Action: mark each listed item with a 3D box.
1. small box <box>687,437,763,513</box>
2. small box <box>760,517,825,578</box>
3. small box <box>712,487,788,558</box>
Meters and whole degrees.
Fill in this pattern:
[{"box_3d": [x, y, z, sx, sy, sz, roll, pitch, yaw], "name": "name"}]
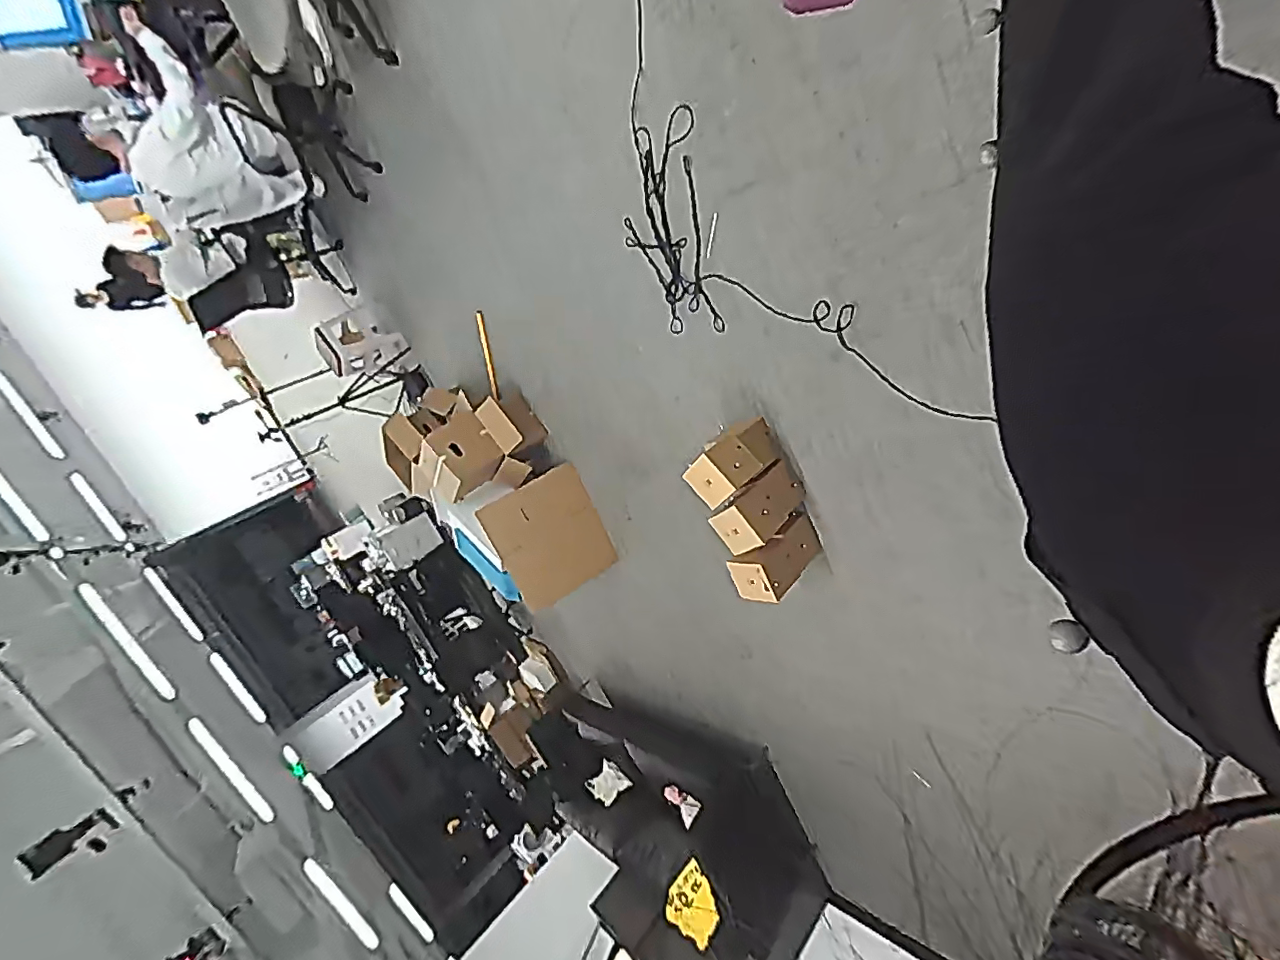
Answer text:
[{"box_3d": [0.301, -0.021, 1.880, 0.168, 0.176, 0.179, 49, 147, 8], "name": "small box"}, {"box_3d": [0.579, 0.252, 2.077, 0.168, 0.176, 0.179, -9, 113, 55], "name": "small box"}, {"box_3d": [0.397, 0.148, 1.914, 0.168, 0.176, 0.179, 53, 147, 2], "name": "small box"}]
